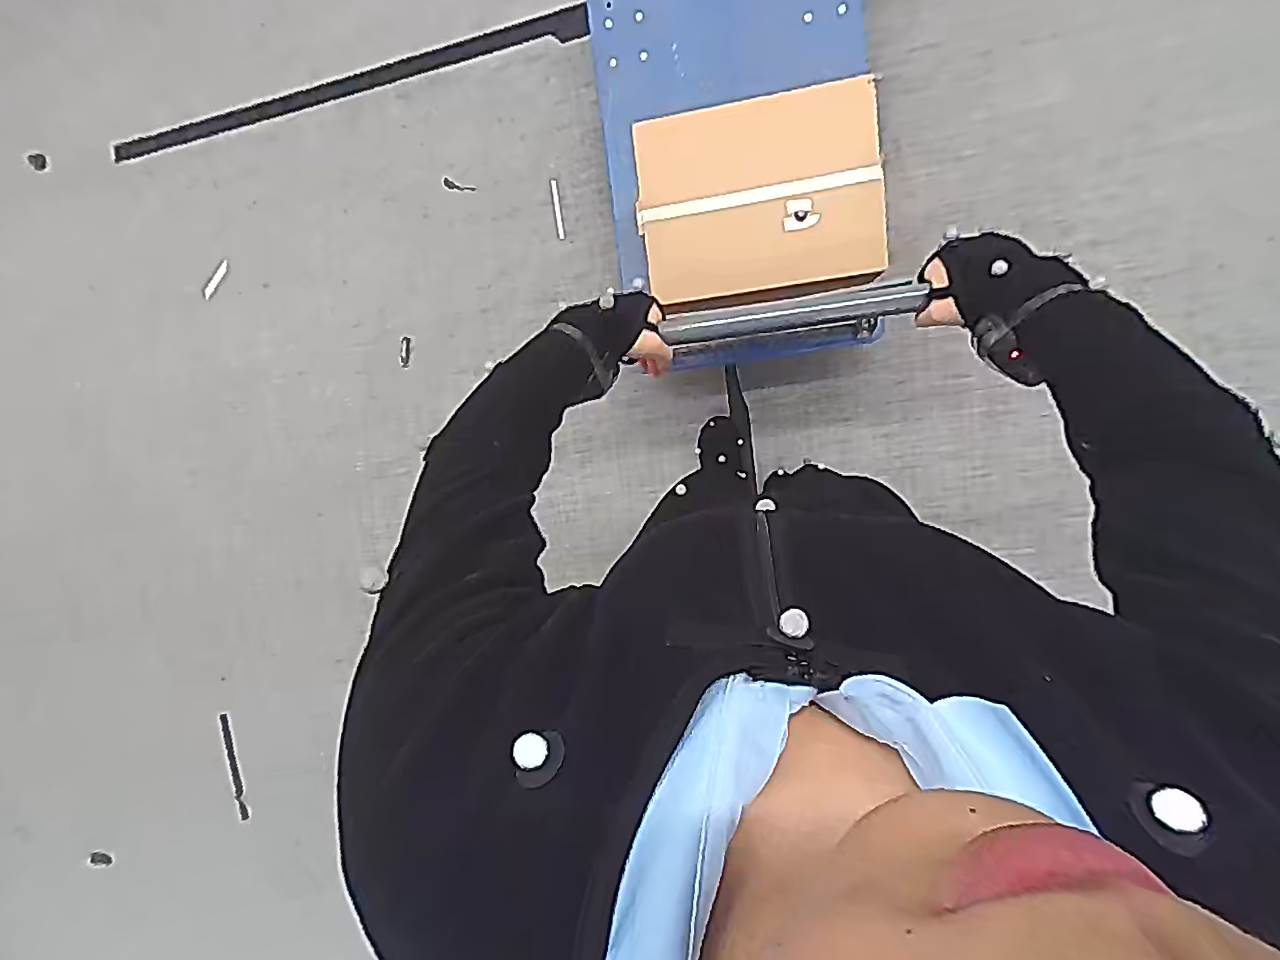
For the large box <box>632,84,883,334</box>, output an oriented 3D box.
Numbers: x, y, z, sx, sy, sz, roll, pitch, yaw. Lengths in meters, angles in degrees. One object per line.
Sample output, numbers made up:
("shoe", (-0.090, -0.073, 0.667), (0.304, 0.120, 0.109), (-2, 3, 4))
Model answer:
("large box", (0.216, -0.493, 1.073), (0.408, 0.320, 0.320), (-6, 97, 8))
